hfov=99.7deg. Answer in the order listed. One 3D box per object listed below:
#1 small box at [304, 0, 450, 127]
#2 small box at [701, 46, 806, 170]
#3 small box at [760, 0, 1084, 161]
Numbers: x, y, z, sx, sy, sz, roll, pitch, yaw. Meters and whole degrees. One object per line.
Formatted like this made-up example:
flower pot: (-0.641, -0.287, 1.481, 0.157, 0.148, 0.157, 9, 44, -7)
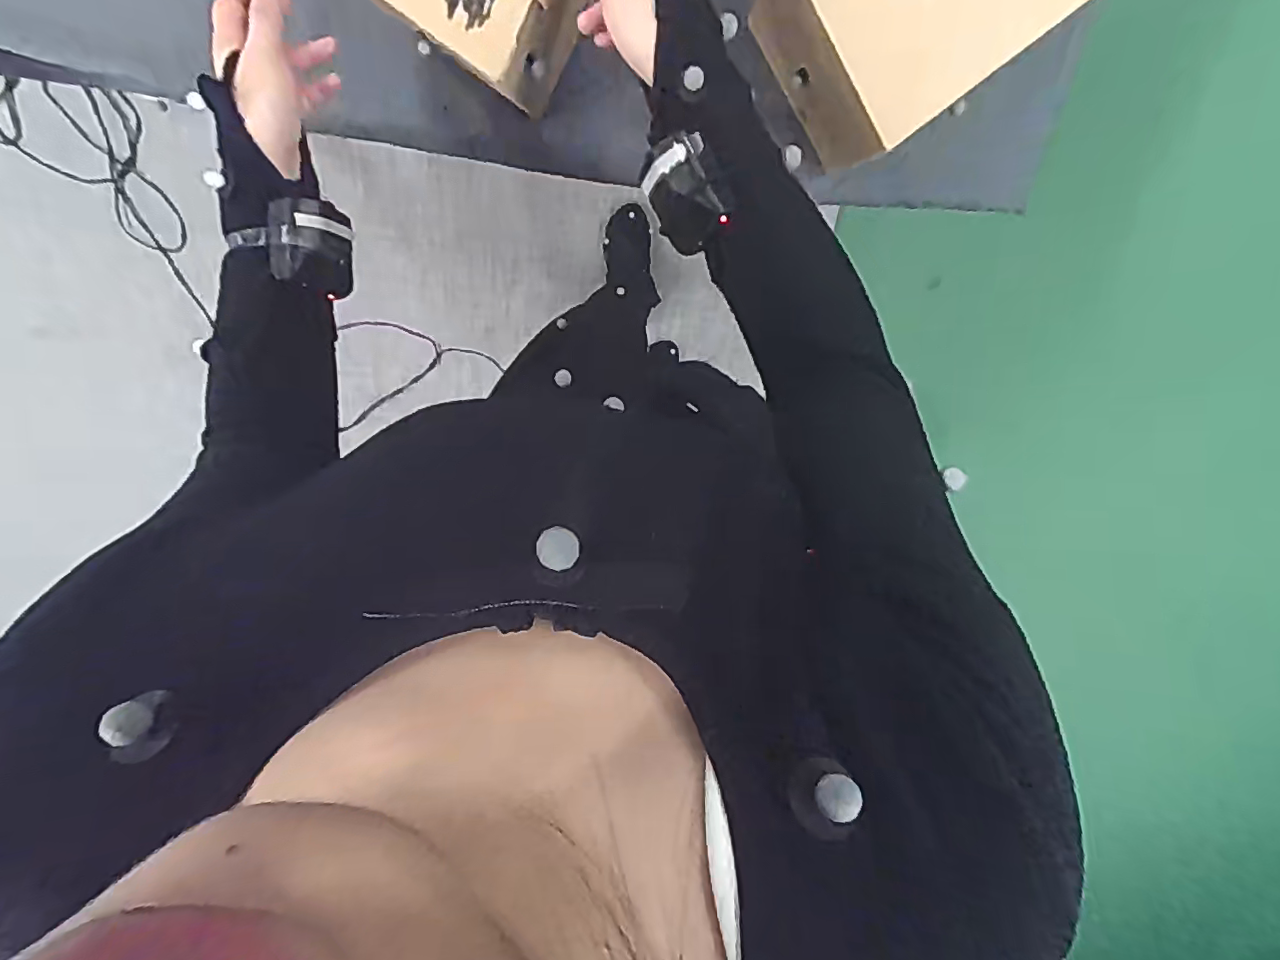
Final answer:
small box: (-0.499, -0.828, 1.052, 0.168, 0.176, 0.179, 37, 111, -17)
small box: (0.231, -0.736, 1.092, 0.179, 0.176, 0.168, 11, 117, -6)
small box: (0.215, -0.396, 0.444, 0.179, 0.176, 0.168, -34, 110, 16)
